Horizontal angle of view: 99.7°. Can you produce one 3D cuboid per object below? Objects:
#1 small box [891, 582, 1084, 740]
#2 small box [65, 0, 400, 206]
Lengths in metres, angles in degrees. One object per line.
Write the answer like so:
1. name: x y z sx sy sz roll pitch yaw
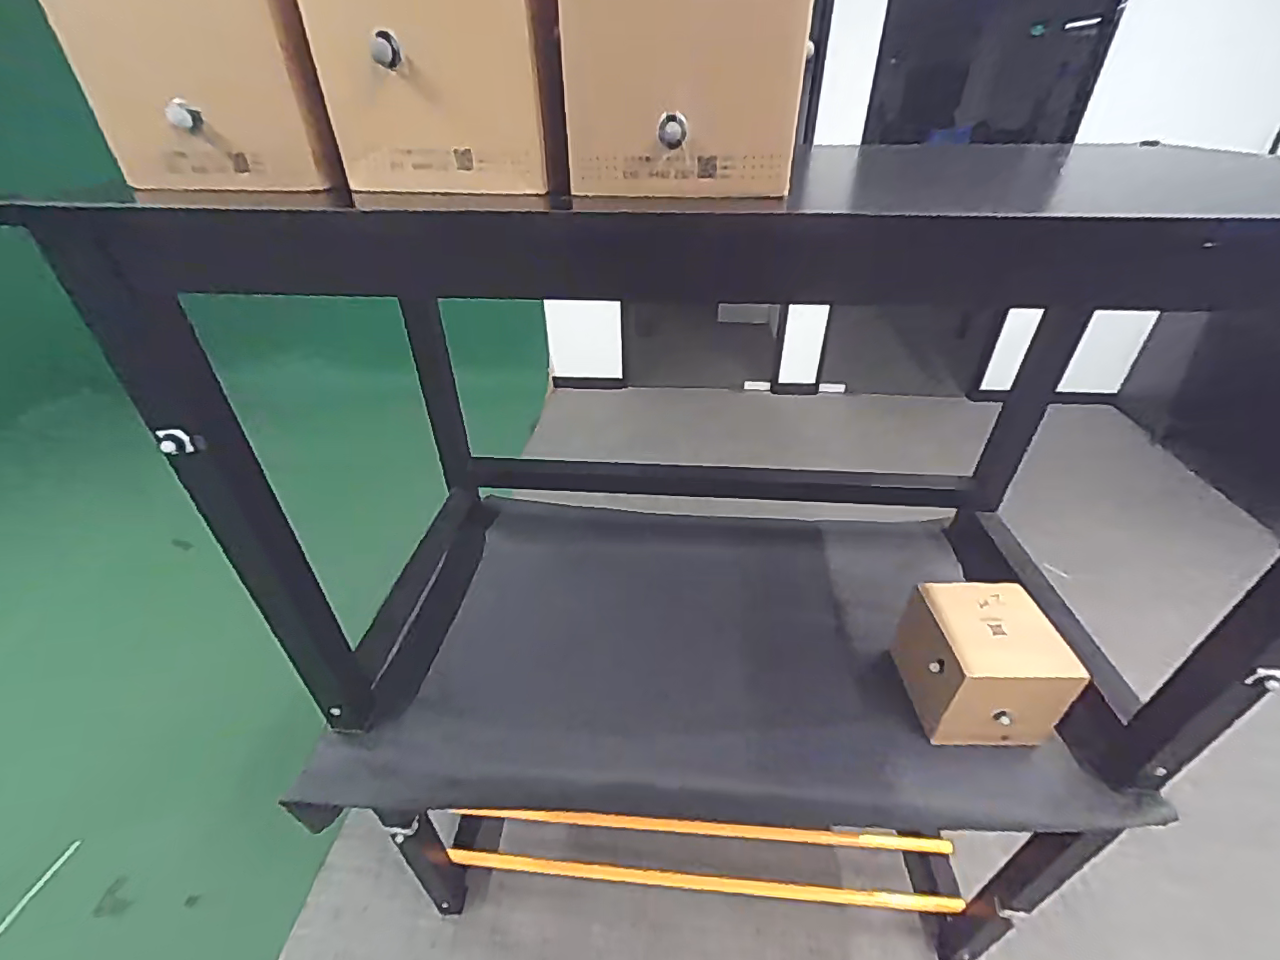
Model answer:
1. small box: 0.517 0.279 0.836 0.168 0.176 0.179 0 34 1
2. small box: -0.331 -0.348 0.470 0.168 0.176 0.179 2 36 3
